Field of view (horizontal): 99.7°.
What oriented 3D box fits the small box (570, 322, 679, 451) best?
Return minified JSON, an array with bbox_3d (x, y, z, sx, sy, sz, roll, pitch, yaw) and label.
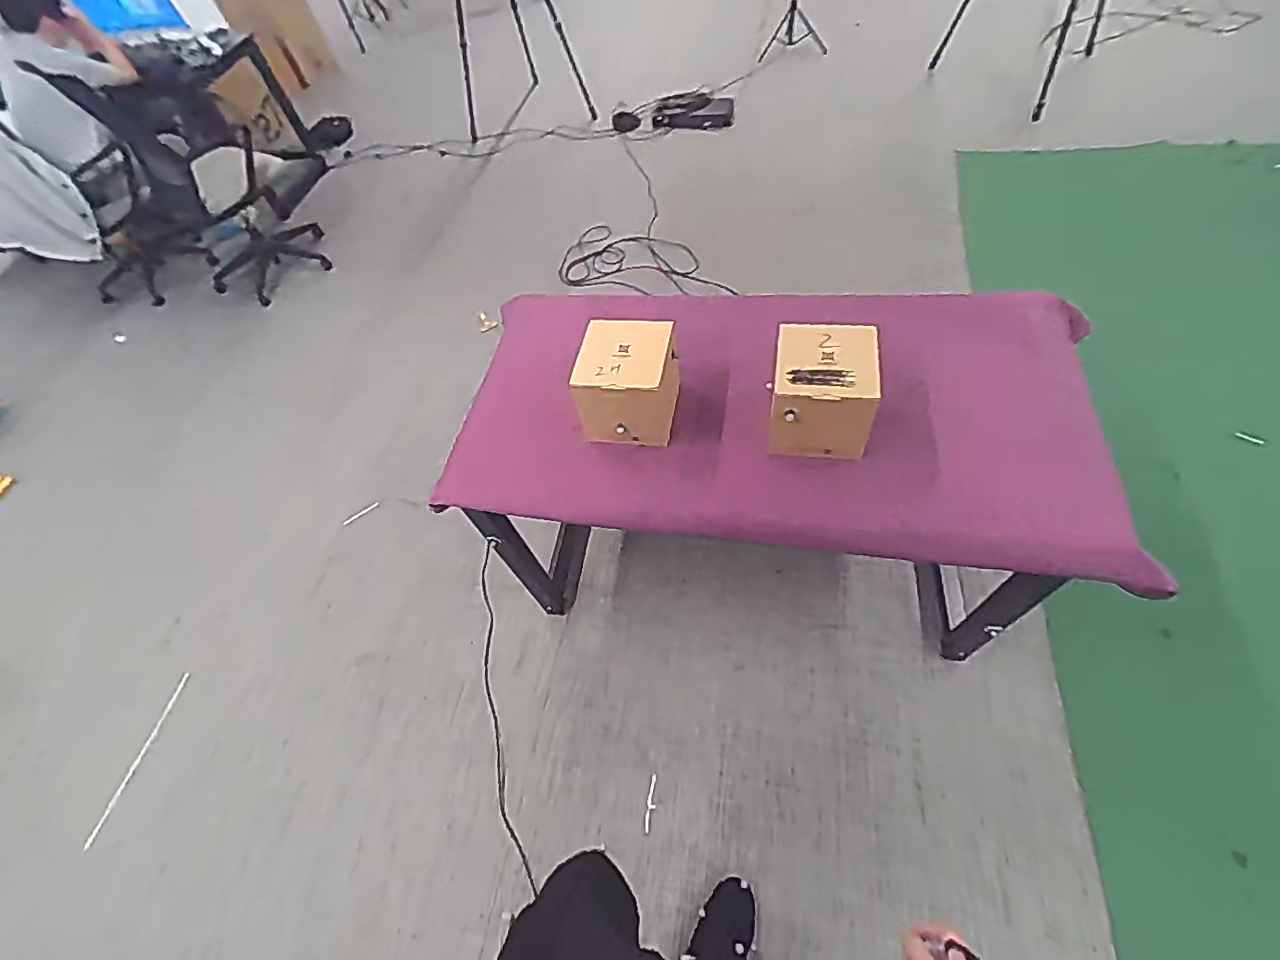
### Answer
[{"bbox_3d":[-0.020,-0.181,1.050,0.168,0.176,0.179,6,58,13],"label":"small box"}]
